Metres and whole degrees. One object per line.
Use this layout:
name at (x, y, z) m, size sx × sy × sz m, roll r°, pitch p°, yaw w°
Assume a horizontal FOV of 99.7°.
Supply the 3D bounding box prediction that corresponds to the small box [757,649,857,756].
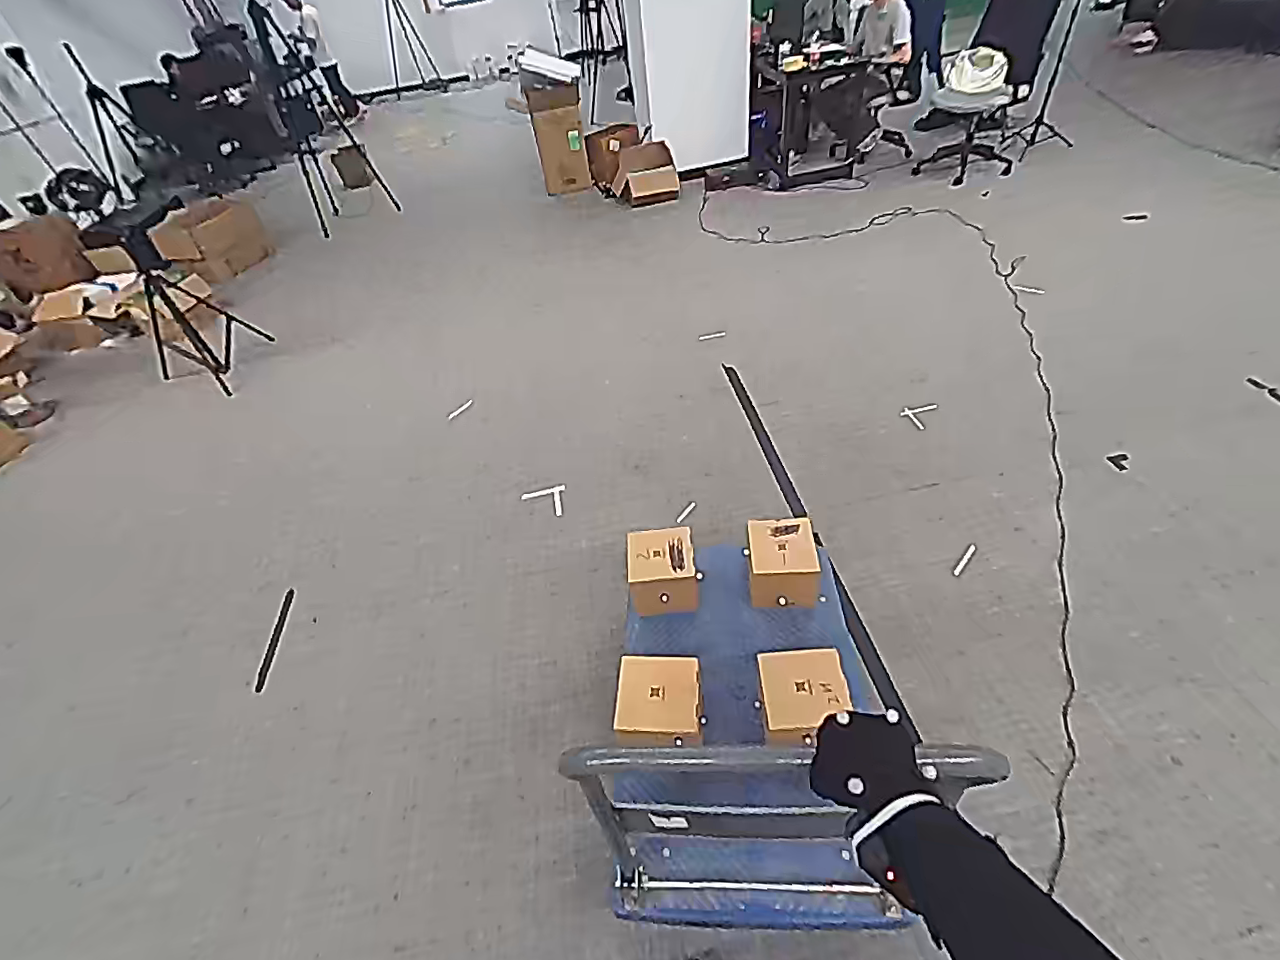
small box at (0.358, 0.492, 1.186) m, size 0.179 × 0.176 × 0.168 m, roll -6°, pitch 44°, yaw 6°

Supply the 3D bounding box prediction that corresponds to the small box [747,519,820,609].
small box at (0.378, 0.227, 1.454) m, size 0.168 × 0.176 × 0.179 m, roll -4°, pitch 45°, yaw 8°

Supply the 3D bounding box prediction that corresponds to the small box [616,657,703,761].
small box at (0.051, 0.518, 1.221) m, size 0.179 × 0.176 × 0.168 m, roll -1°, pitch 44°, yaw 7°
